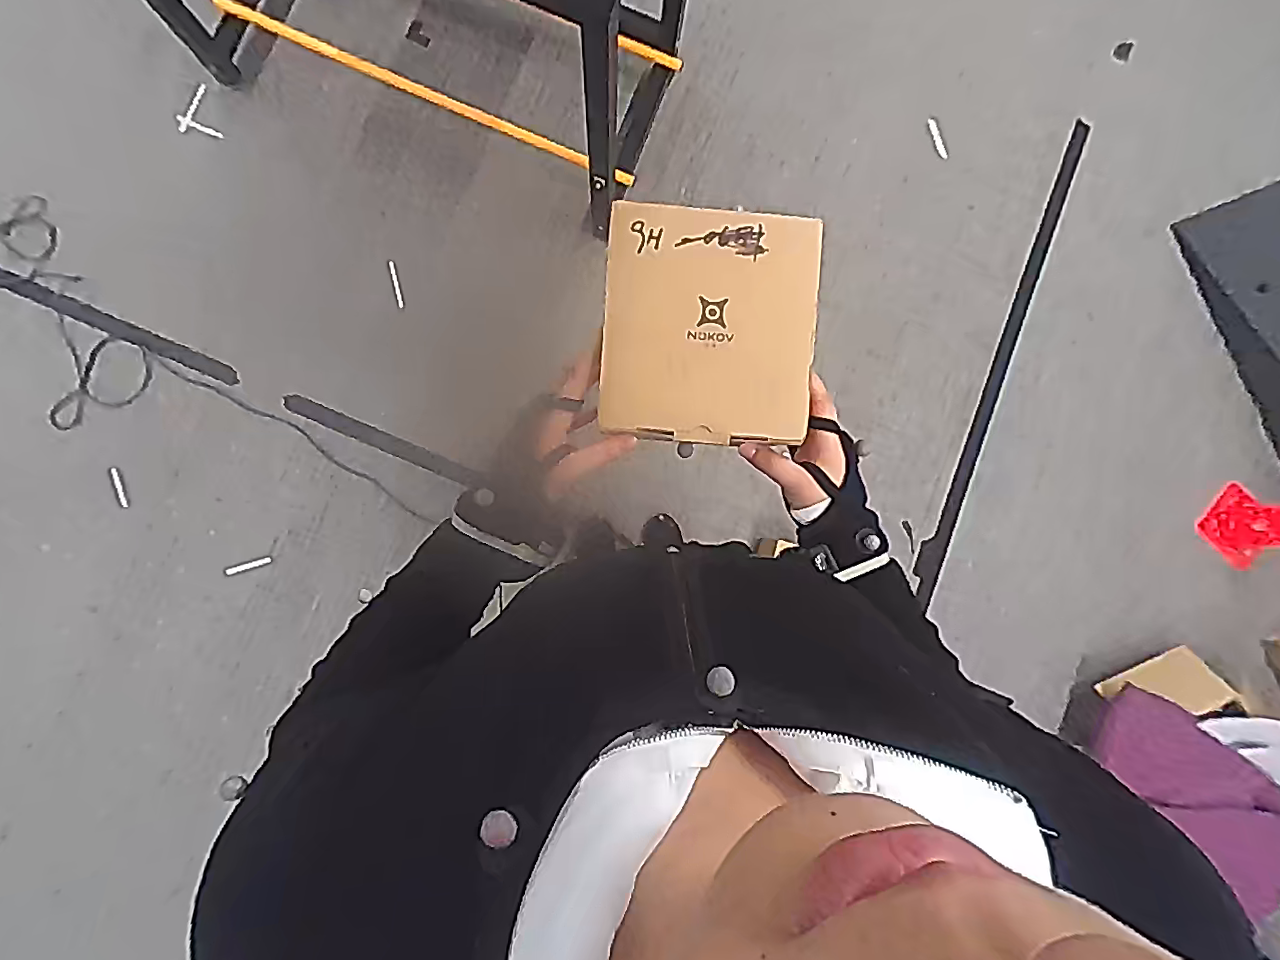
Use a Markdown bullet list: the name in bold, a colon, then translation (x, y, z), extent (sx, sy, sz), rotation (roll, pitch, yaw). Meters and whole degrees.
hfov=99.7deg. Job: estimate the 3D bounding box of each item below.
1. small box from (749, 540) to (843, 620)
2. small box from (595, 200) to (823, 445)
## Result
- **small box**: translation (0.411, 0.258, 1.446), extent (0.179, 0.176, 0.168), rotation (16, 84, -1)
- **small box**: translation (0.051, -0.125, 0.494), extent (0.168, 0.176, 0.179), rotation (3, 93, -2)
